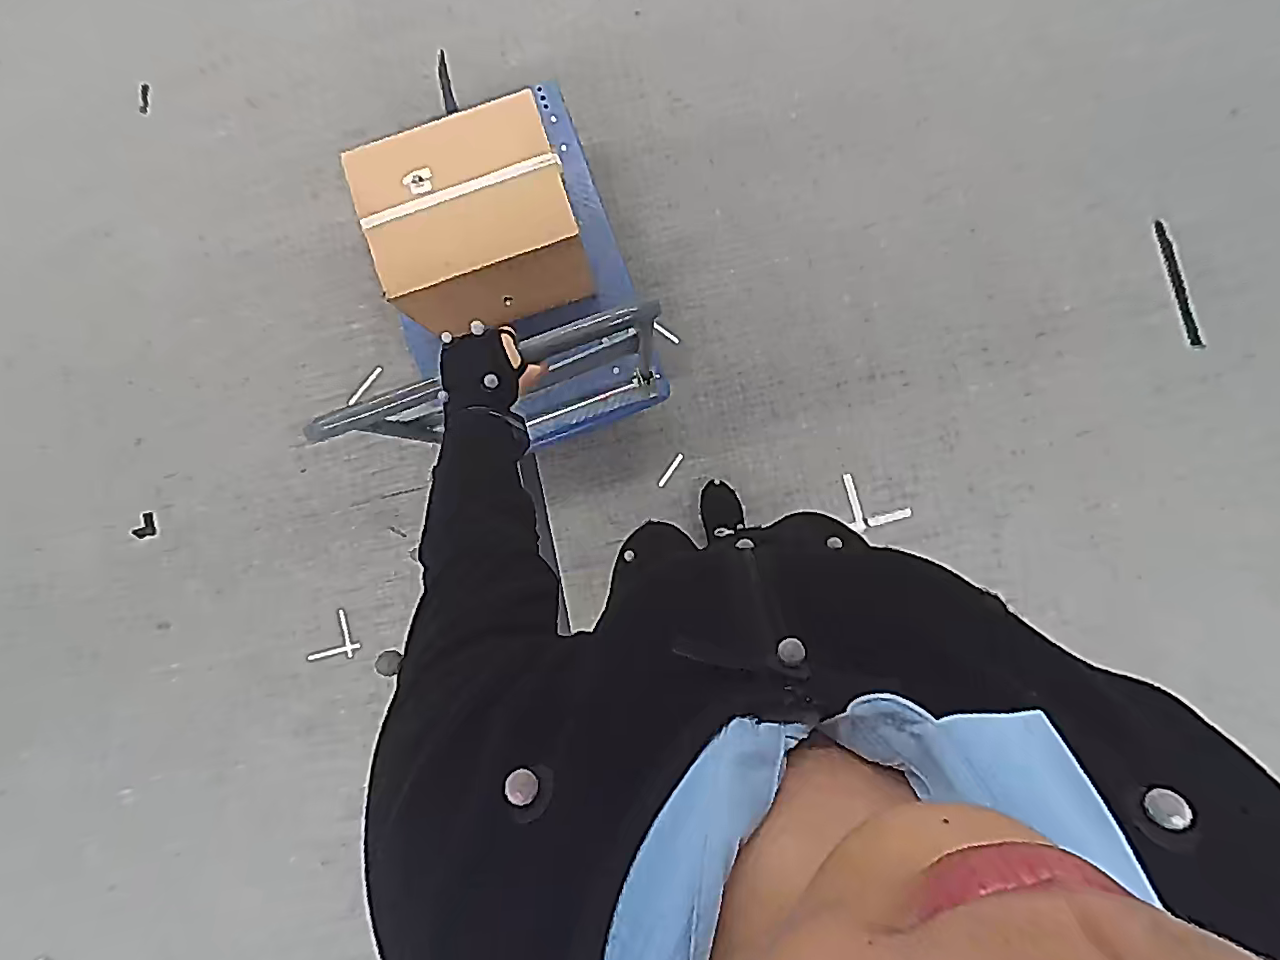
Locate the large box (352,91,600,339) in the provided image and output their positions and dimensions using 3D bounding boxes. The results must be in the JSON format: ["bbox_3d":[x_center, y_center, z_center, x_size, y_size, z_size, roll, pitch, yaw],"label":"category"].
[{"bbox_3d":[-0.341,-0.564,1.225,0.408,0.320,0.320,-18,86,3],"label":"large box"}]
